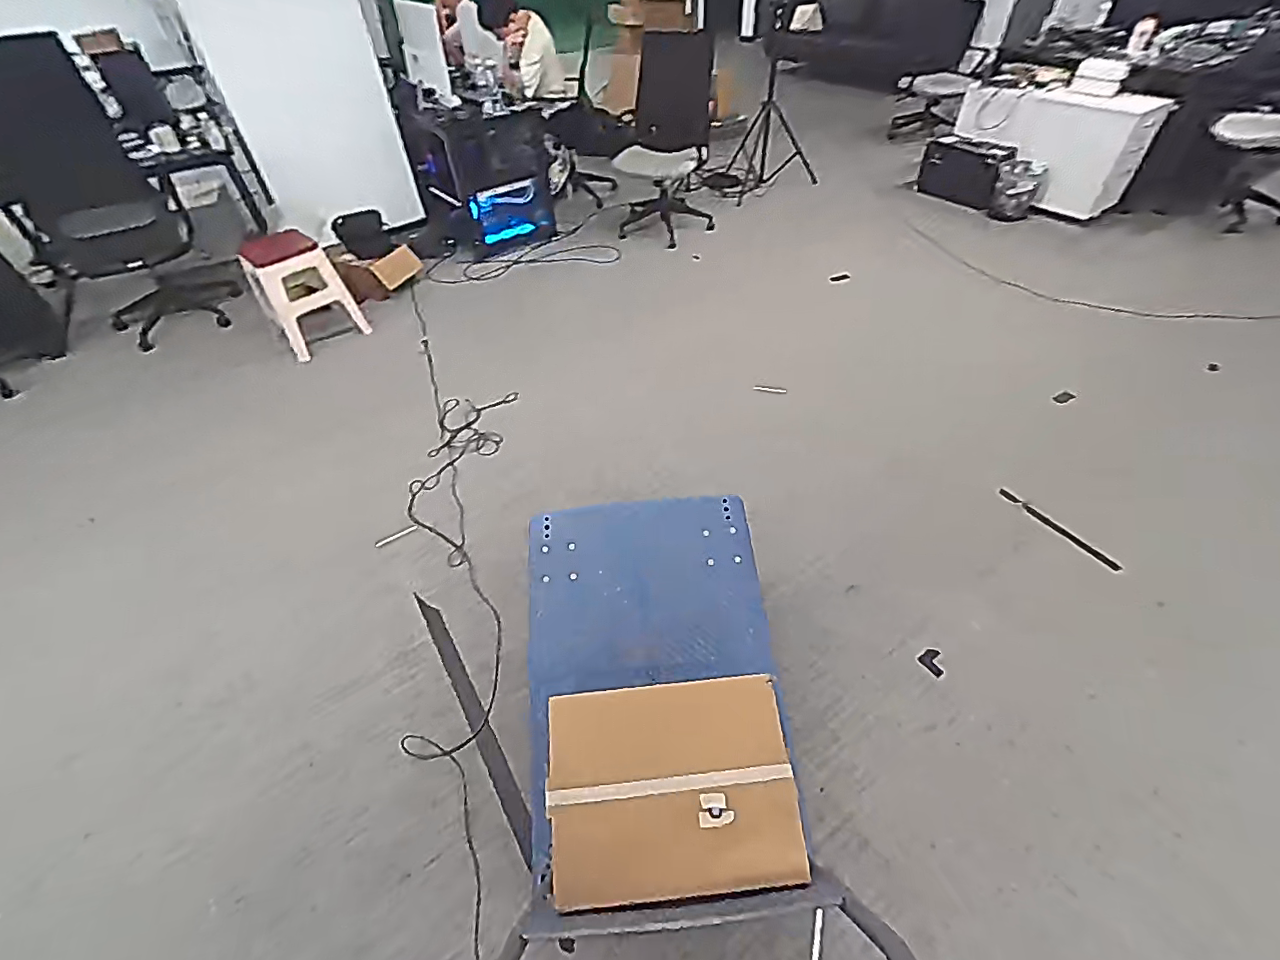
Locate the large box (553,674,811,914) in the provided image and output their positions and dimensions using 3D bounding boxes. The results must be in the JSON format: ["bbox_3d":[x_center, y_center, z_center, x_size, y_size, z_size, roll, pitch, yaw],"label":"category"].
[{"bbox_3d":[0.059,0.582,1.048,0.408,0.320,0.320,-6,64,-3],"label":"large box"}]
